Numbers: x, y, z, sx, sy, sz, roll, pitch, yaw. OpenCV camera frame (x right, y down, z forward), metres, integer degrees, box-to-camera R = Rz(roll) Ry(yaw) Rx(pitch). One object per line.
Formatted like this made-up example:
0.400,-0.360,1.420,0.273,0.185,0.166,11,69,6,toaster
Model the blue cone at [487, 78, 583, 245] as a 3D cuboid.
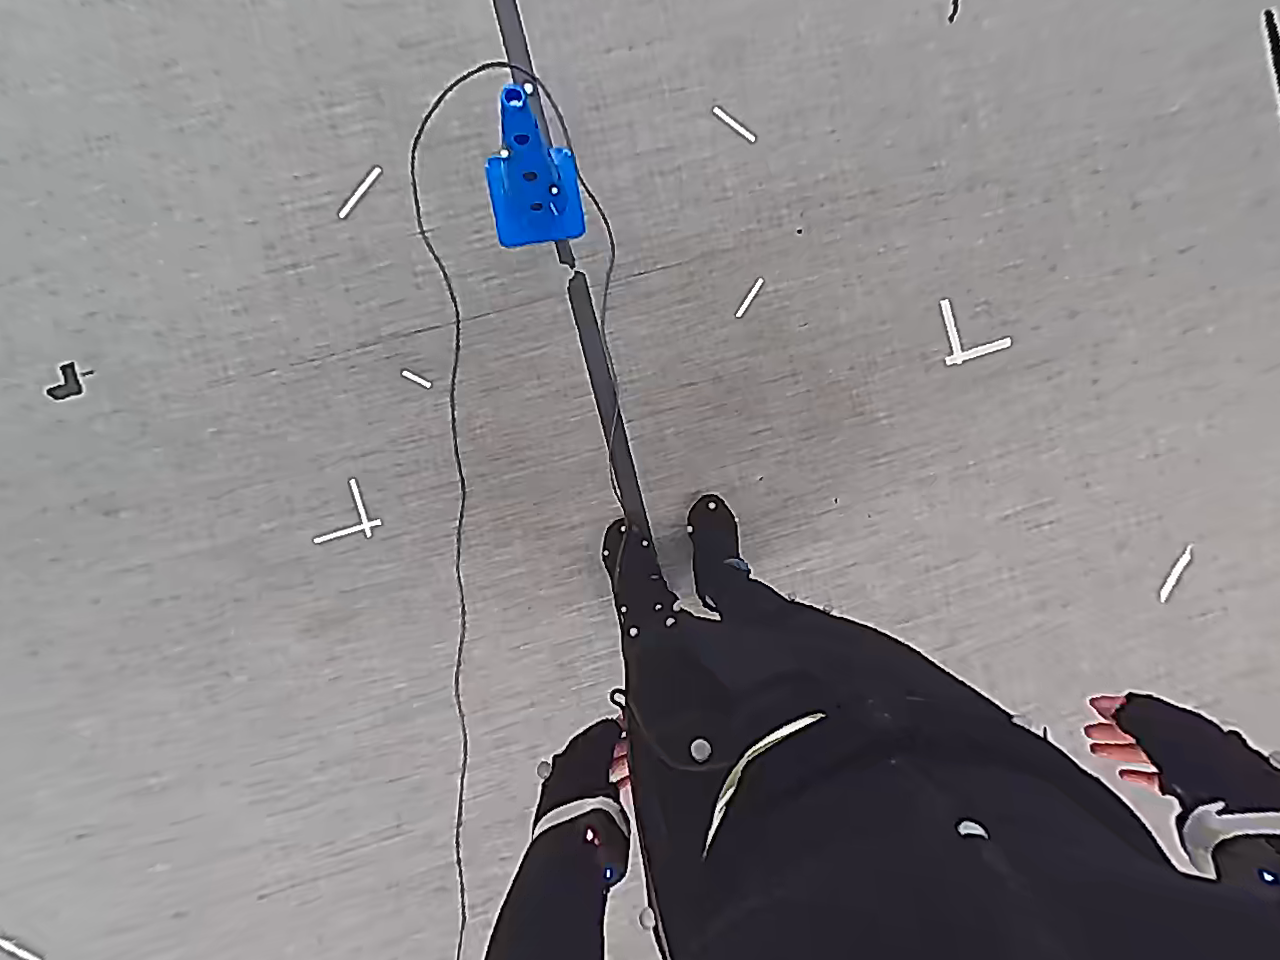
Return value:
-0.218,-0.614,1.032,0.193,0.380,0.192,-12,94,-3,blue cone
